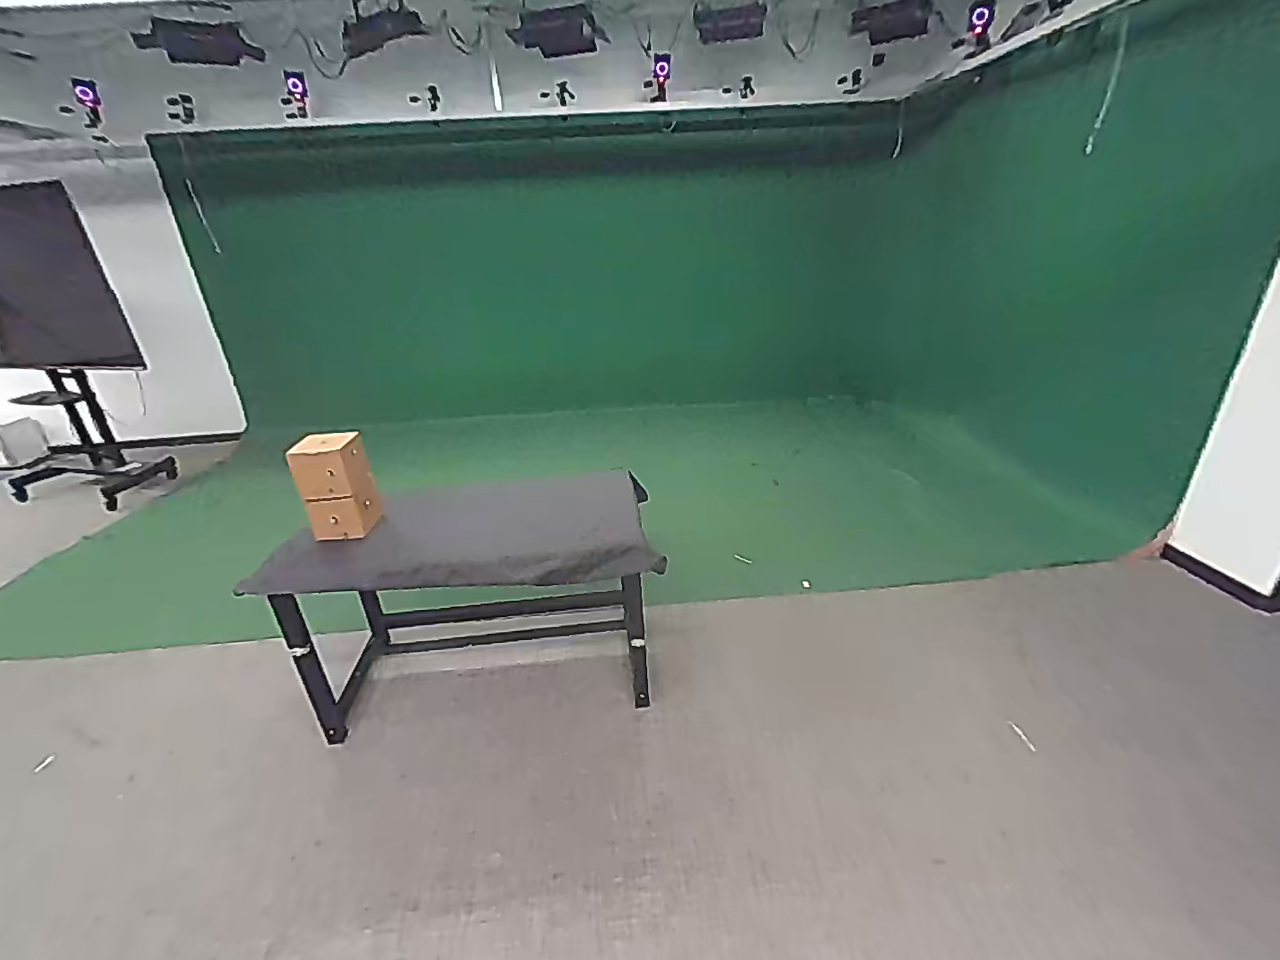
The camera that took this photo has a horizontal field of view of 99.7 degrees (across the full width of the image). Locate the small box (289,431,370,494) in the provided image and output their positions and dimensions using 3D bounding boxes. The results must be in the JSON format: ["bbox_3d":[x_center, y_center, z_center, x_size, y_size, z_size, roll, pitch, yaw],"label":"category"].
[{"bbox_3d":[-1.036,-0.056,1.824,0.168,0.176,0.179,-4,24,-5],"label":"small box"}]

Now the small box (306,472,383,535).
[{"bbox_3d":[-1.031,0.086,1.904,0.168,0.176,0.179,-3,25,-2],"label":"small box"}]
